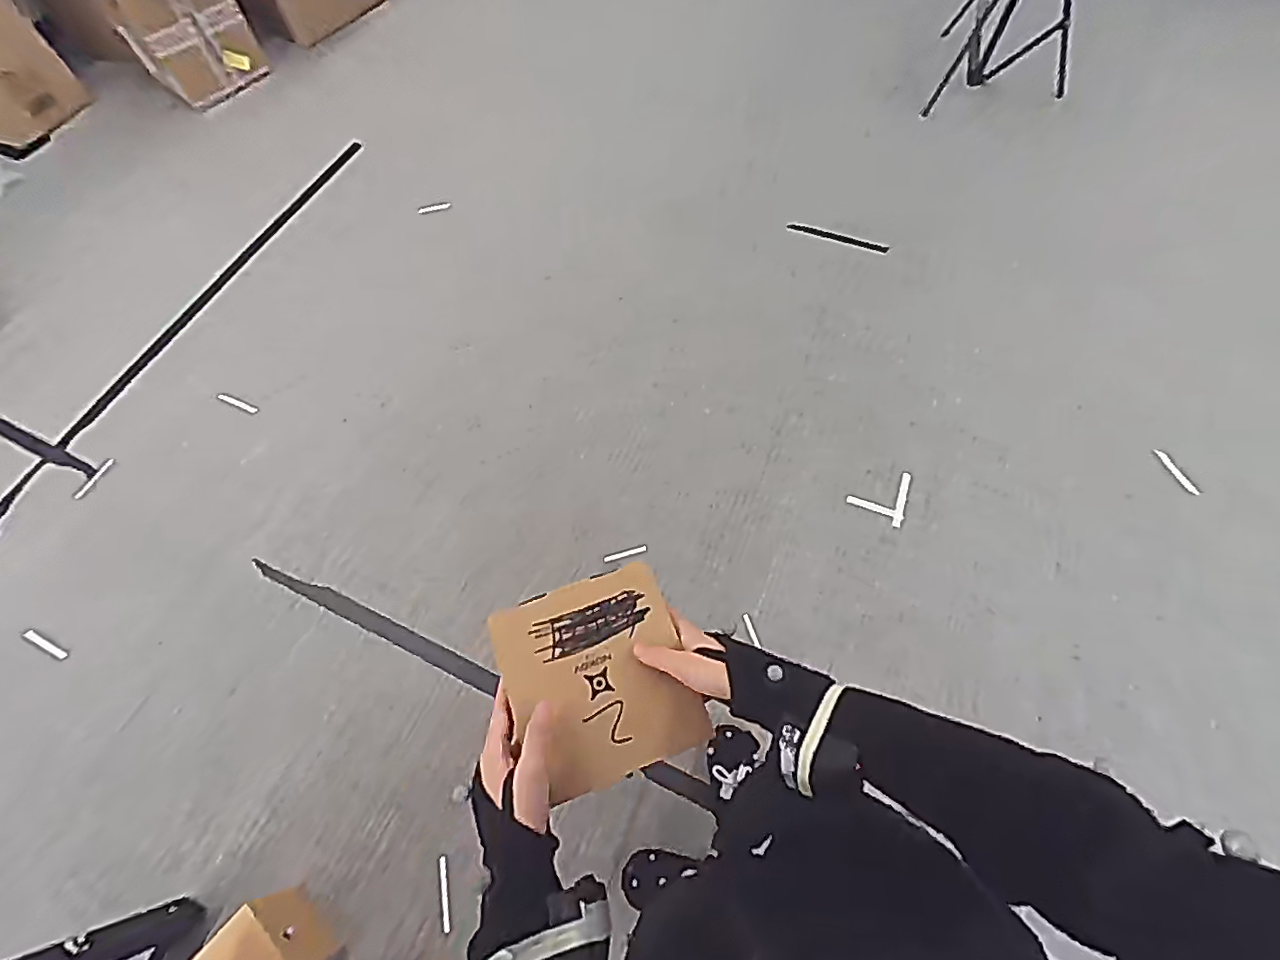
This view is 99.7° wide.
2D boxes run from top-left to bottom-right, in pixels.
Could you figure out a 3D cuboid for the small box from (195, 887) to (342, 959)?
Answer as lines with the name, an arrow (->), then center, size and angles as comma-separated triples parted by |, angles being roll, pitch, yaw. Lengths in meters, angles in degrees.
small box -> -0.749, 0.963, 1.084 | 0.179, 0.176, 0.168 | 38, 72, 16
